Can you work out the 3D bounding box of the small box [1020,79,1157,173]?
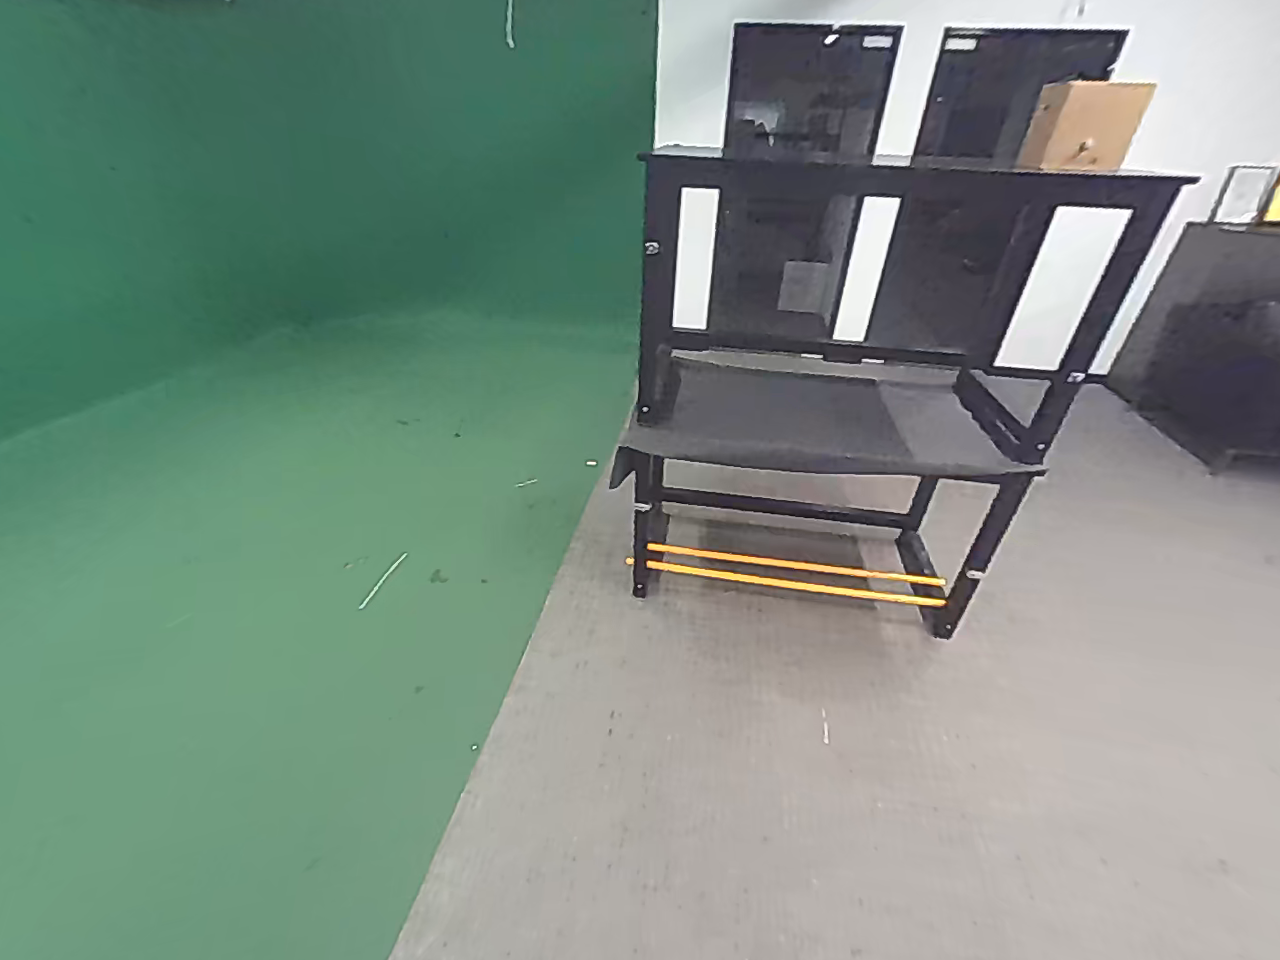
[{"bbox_3d":[1.027,-0.823,1.261,0.168,0.176,0.179,9,35,11],"label":"small box"}]
